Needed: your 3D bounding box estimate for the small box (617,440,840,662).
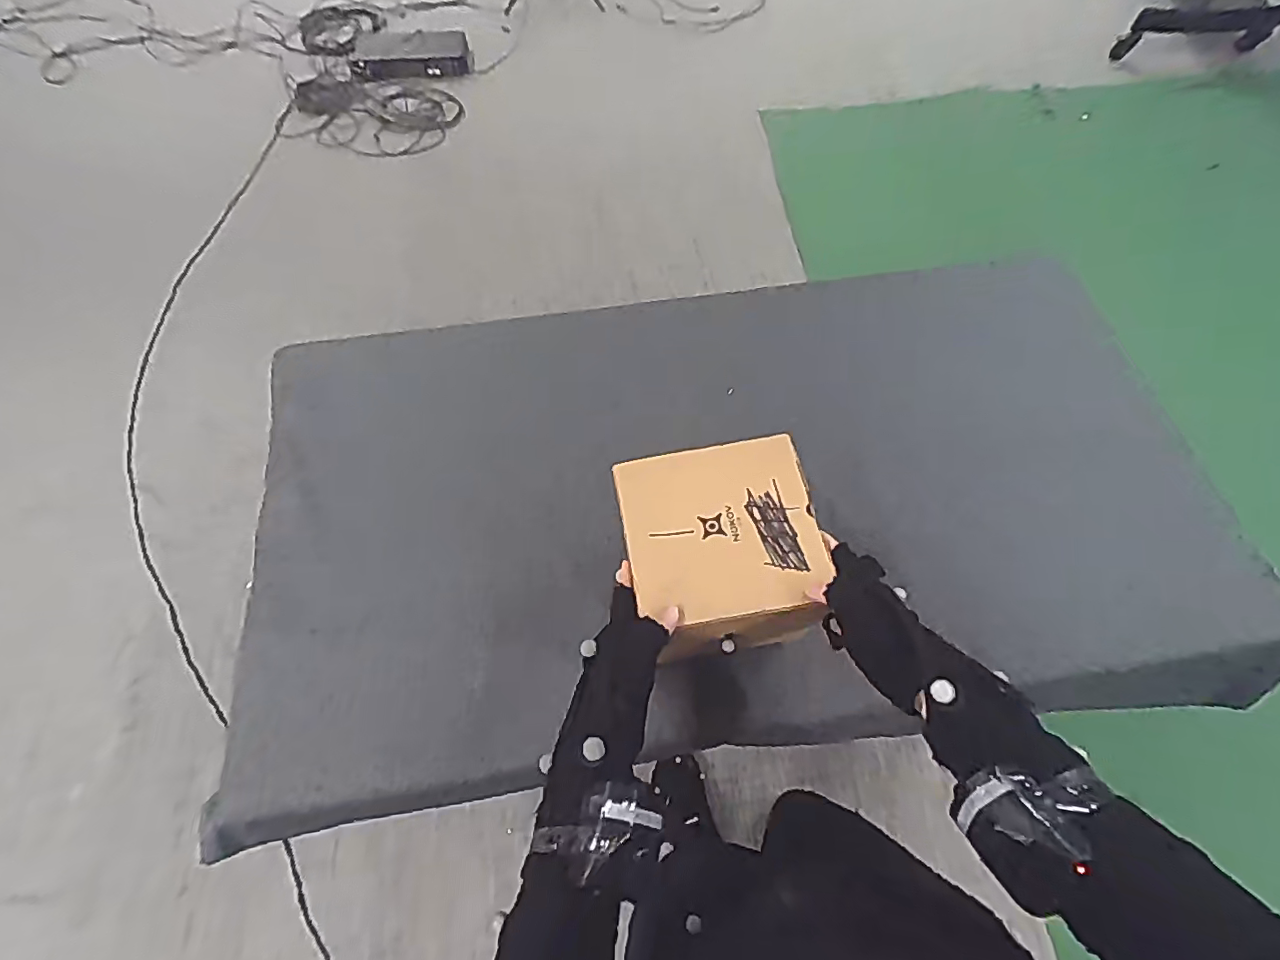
[{"bbox_3d":[0.076,0.081,0.560,0.179,0.176,0.168,-9,62,-2],"label":"small box"}]
